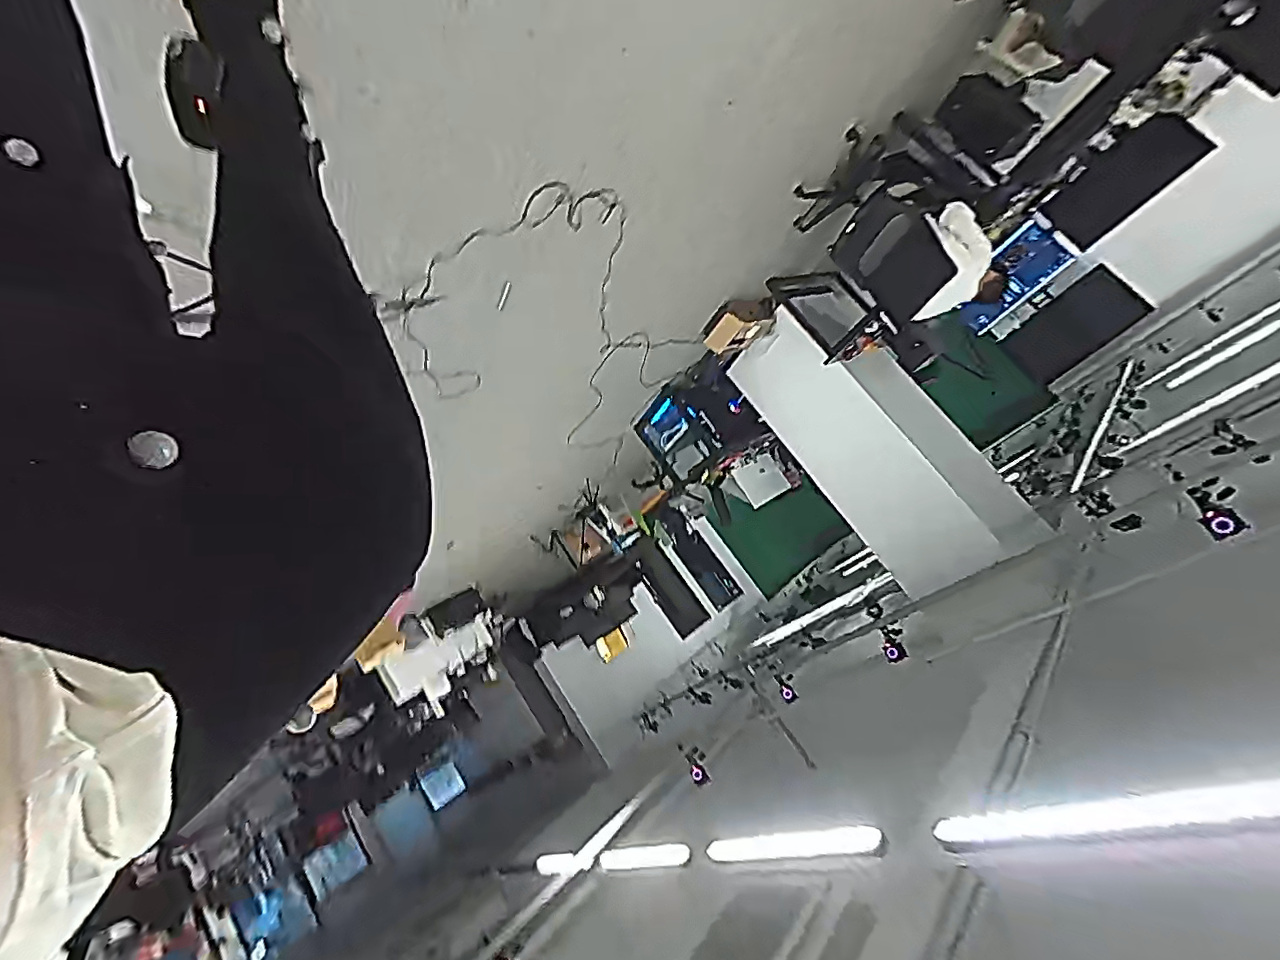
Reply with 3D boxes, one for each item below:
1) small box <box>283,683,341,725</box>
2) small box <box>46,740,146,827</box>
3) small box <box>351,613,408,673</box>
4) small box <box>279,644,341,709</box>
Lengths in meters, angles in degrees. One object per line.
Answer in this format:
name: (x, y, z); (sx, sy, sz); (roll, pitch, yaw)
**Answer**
small box: (-1.450, 0.942, 2.382); (0.168, 0.176, 0.179); (-22, 160, -44)
small box: (-1.749, 0.975, 1.744); (0.179, 0.176, 0.168); (-25, 163, -44)
small box: (-1.141, 0.707, 2.362); (0.168, 0.176, 0.179); (-24, 164, -40)
small box: (-1.328, 0.788, 2.178); (0.168, 0.176, 0.179); (-27, 164, -38)
